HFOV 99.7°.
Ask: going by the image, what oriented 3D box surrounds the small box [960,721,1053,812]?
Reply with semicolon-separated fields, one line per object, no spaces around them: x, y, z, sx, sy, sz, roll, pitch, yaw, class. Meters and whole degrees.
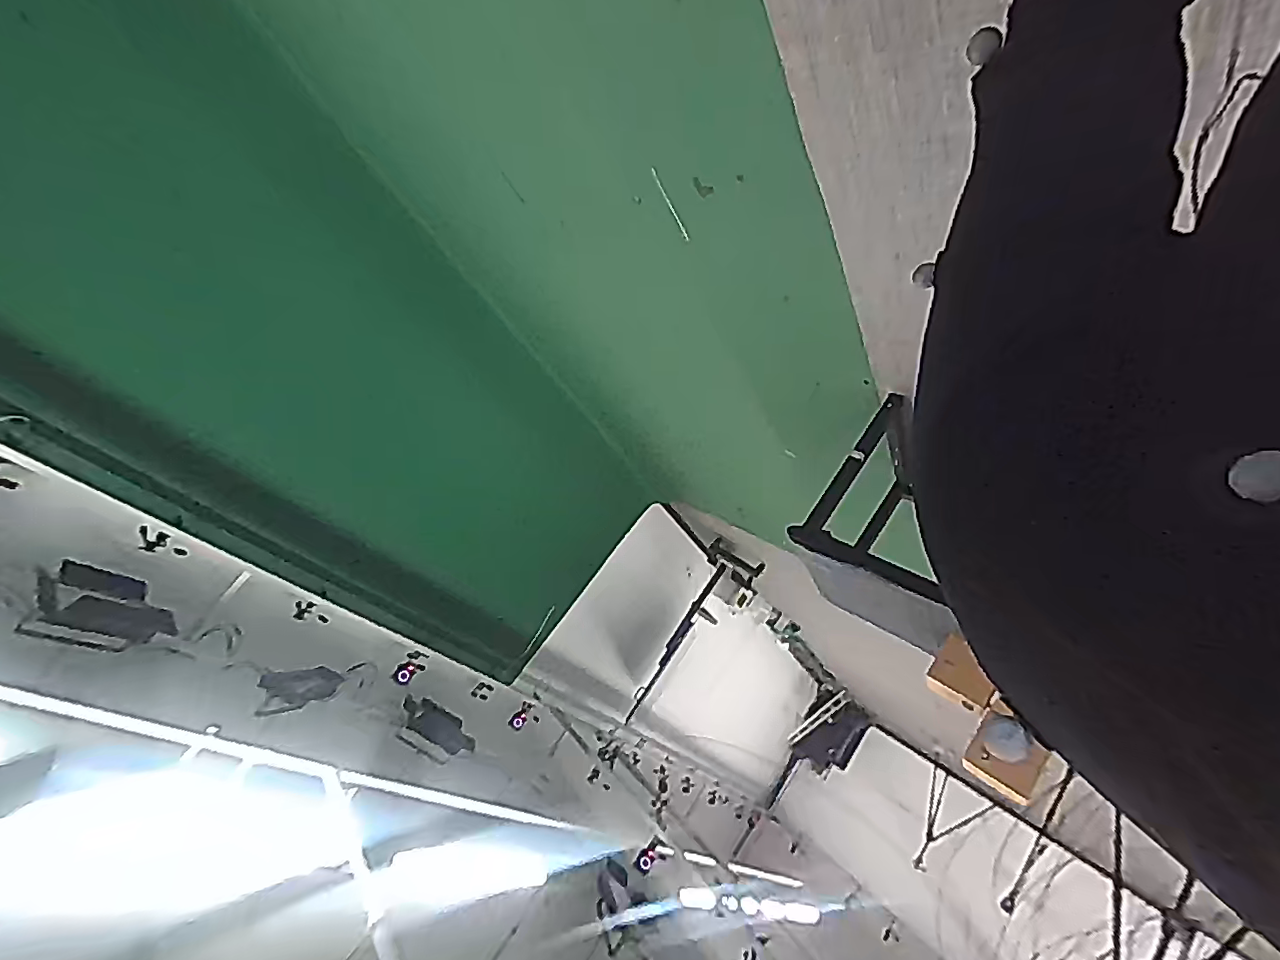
1.081;0.841;1.604;0.179;0.176;0.168;26;163;42;small box
